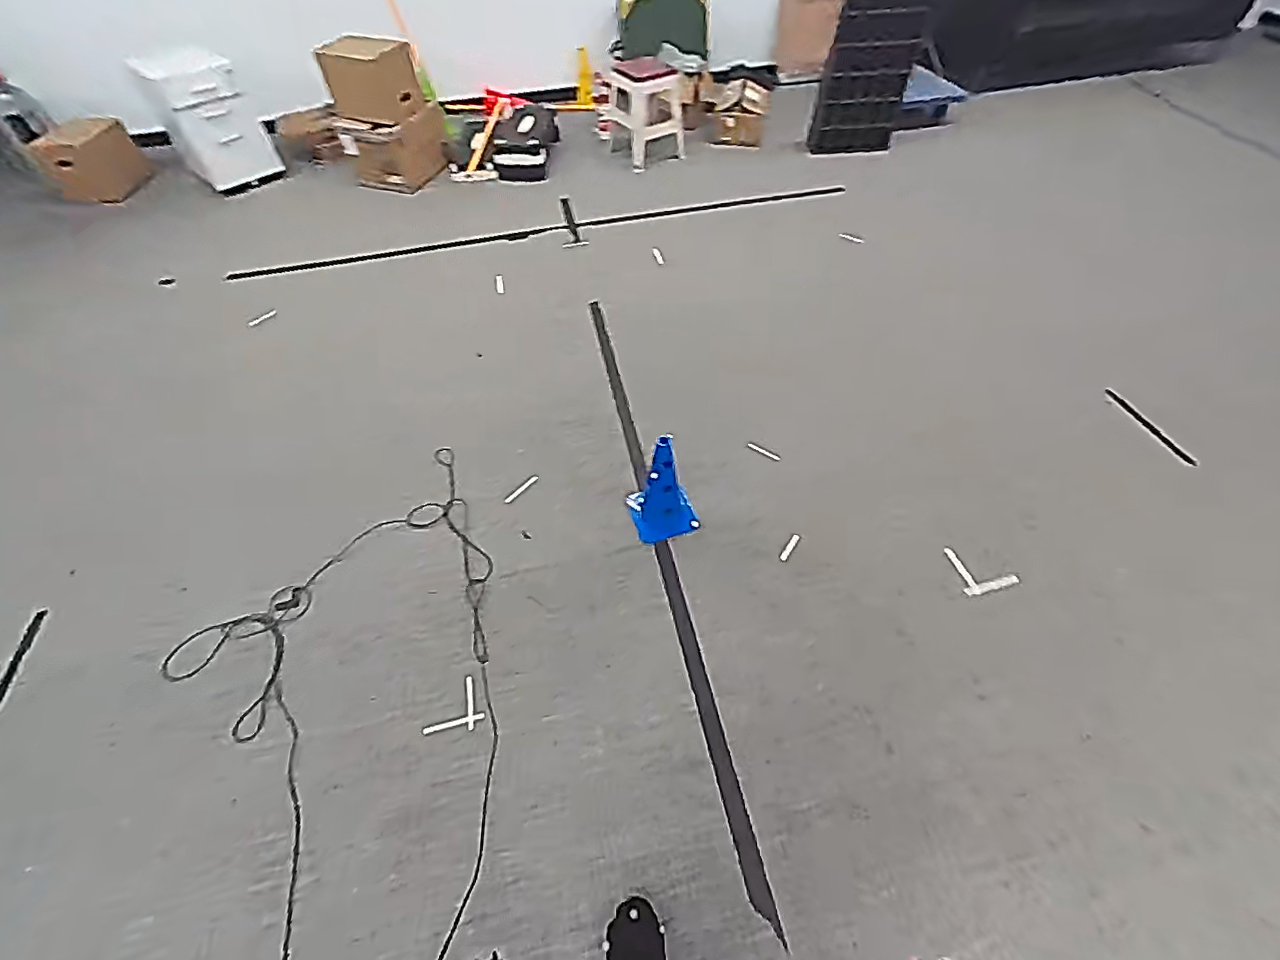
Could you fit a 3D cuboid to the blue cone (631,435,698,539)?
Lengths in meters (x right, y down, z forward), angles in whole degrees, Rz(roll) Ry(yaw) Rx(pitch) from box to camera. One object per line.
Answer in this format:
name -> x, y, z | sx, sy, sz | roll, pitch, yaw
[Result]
blue cone -> 0.075, 0.002, 1.646 | 0.192, 0.380, 0.193 | -13, 53, -10
